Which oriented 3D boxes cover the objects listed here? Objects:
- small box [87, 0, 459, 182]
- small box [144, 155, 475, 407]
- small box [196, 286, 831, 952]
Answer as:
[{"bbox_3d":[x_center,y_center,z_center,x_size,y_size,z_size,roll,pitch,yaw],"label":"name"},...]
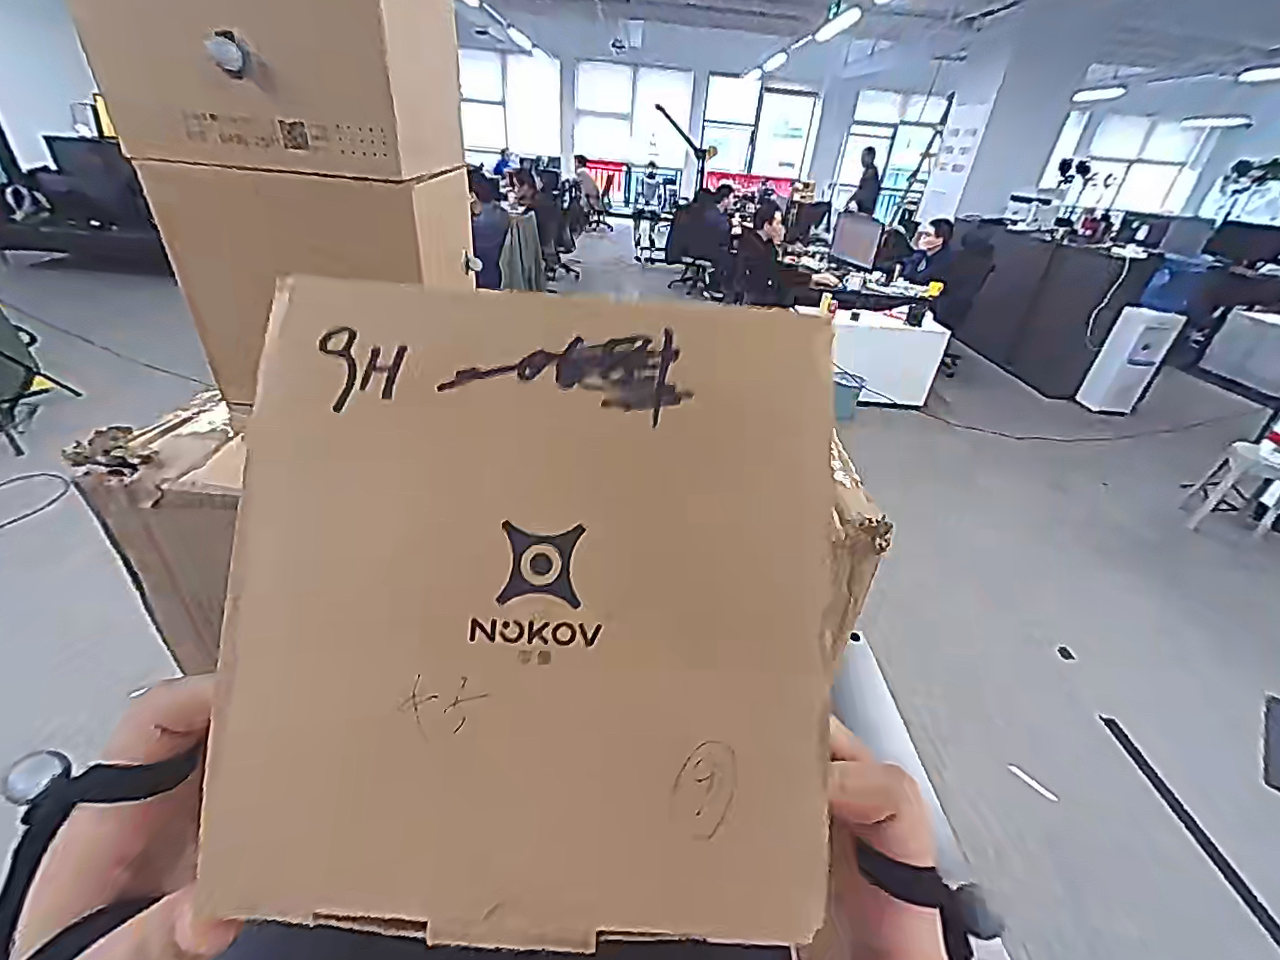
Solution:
[{"bbox_3d":[-0.224,-0.305,0.358,0.168,0.176,0.179,2,33,-4],"label":"small box"},{"bbox_3d":[-0.236,-0.167,0.449,0.168,0.176,0.179,1,34,-6],"label":"small box"},{"bbox_3d":[-0.032,0.042,0.230,0.168,0.179,0.176,4,-6,-1],"label":"small box"}]
